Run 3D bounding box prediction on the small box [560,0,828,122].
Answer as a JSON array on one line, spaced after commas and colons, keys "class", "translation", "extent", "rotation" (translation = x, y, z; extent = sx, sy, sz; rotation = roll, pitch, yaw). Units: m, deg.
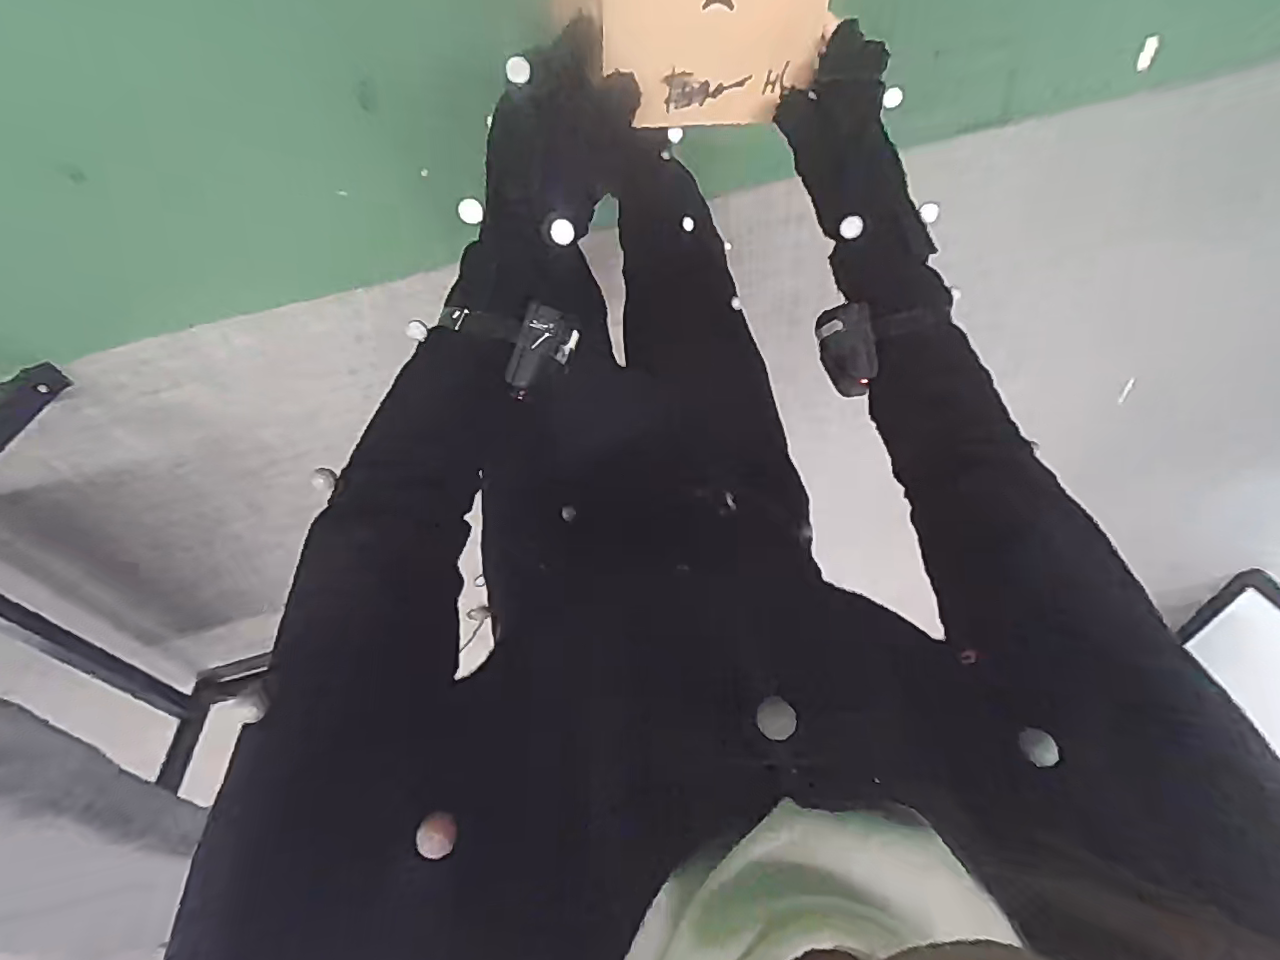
[{"class": "small box", "translation": [0.032, -0.390, 0.413], "extent": [0.168, 0.176, 0.179], "rotation": [-11, 134, -13]}]
